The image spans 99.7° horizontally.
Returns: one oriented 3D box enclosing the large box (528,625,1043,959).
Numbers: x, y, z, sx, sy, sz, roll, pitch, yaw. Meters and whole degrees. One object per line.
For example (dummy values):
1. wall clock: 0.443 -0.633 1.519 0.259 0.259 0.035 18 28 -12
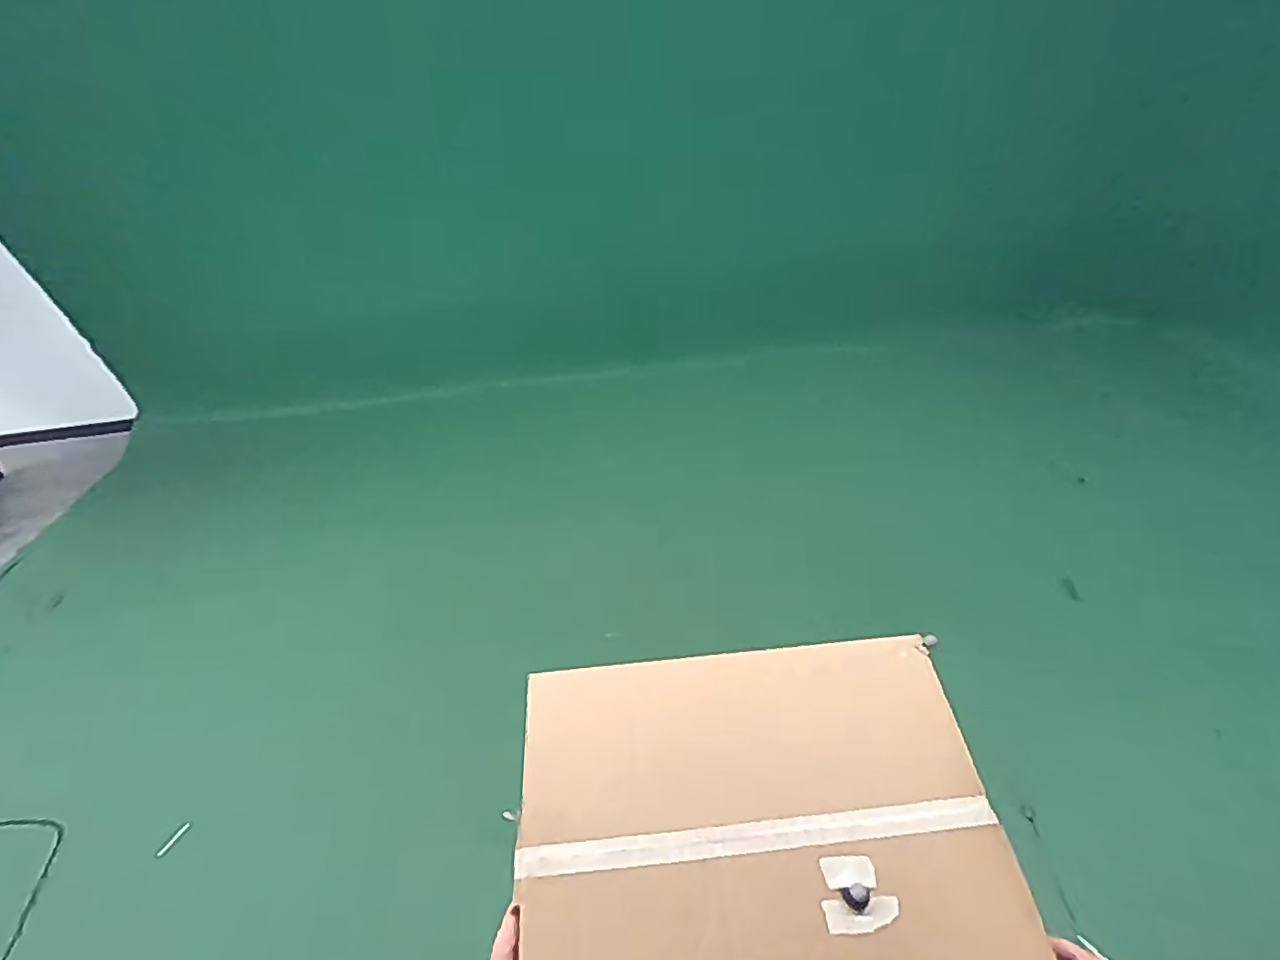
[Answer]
1. large box: 0.103 0.385 0.595 0.408 0.320 0.320 -6 54 -2
